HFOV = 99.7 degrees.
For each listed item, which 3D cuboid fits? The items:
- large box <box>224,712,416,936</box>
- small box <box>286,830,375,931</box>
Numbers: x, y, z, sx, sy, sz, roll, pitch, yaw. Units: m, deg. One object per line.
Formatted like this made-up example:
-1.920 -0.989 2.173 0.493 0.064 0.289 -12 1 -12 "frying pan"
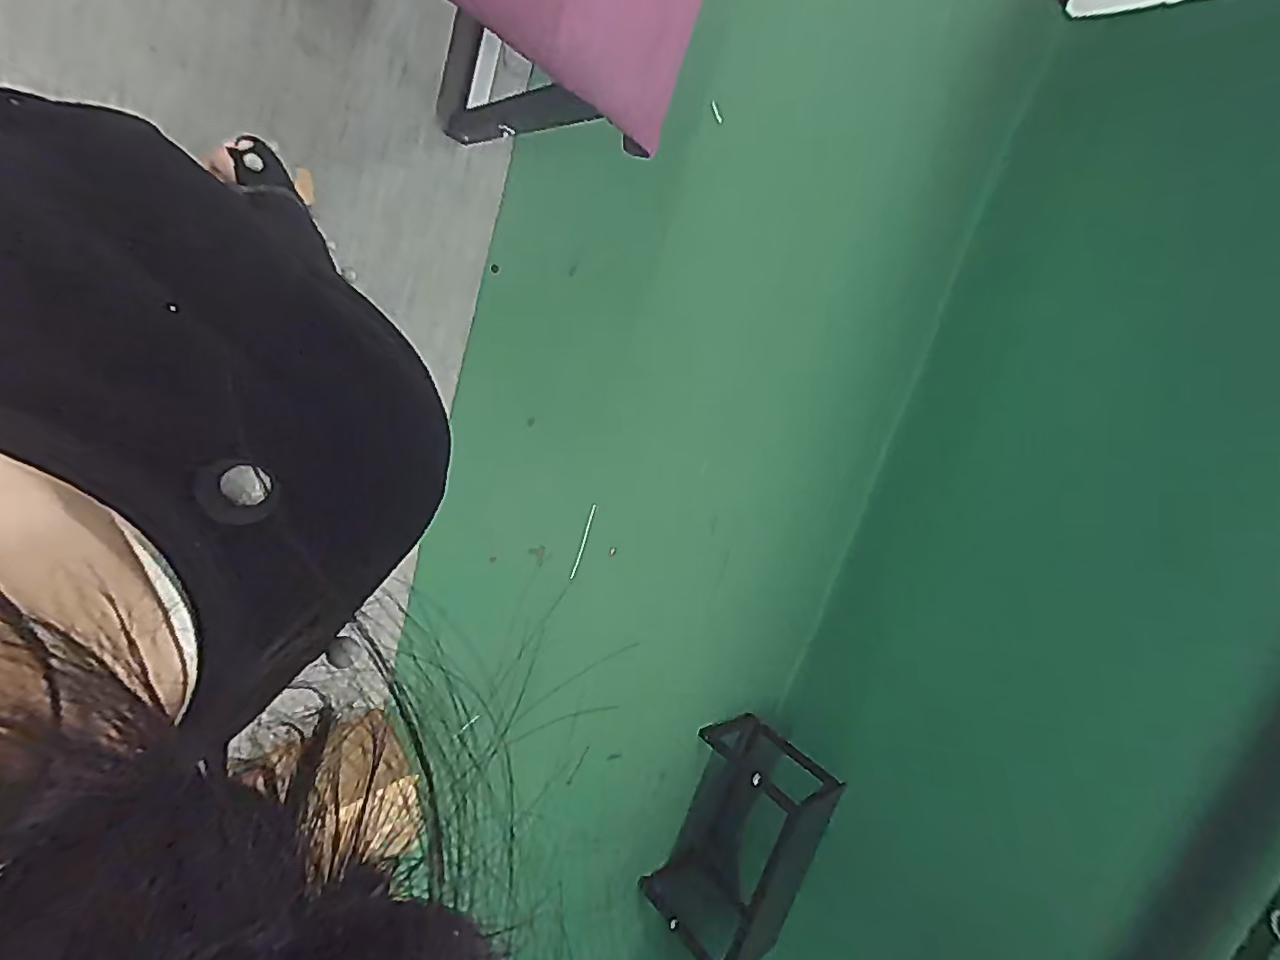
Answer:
-0.922 0.968 1.581 0.408 0.320 0.320 -13 119 -42 "large box"
-0.791 1.043 1.384 0.168 0.176 0.179 -11 116 -41 "small box"
